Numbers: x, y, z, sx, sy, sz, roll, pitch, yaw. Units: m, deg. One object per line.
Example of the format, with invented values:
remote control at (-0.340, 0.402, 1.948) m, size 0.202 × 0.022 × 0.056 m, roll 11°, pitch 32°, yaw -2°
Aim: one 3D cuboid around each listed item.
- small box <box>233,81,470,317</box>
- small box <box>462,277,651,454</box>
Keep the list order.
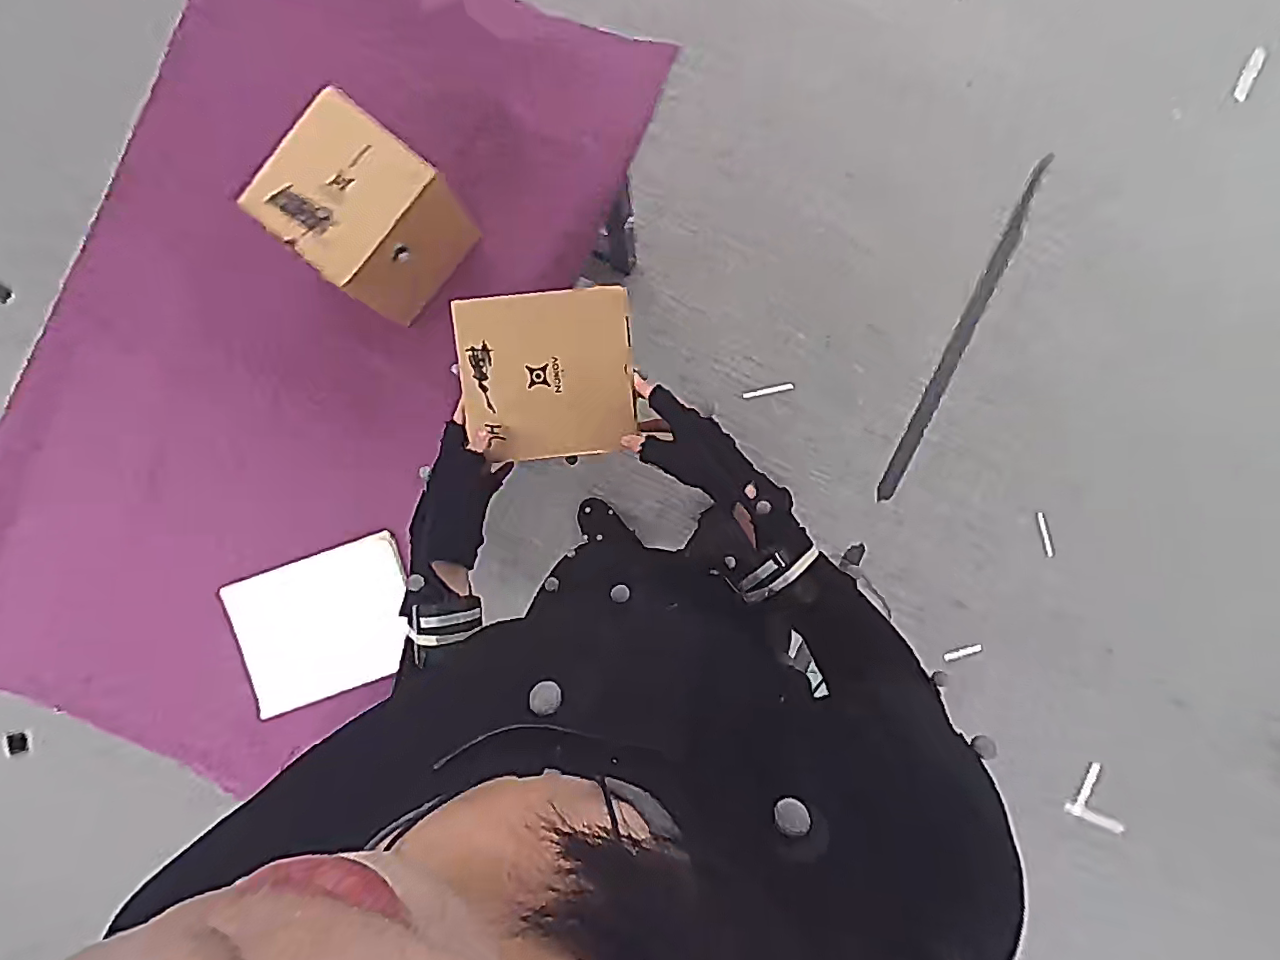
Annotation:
small box at (-0.353, -0.342, 0.700) m, size 0.168 × 0.176 × 0.179 m, roll 40°, pitch 91°, yaw 2°
small box at (-0.083, -0.120, 0.610) m, size 0.179 × 0.176 × 0.168 m, roll -4°, pitch 96°, yaw -1°
